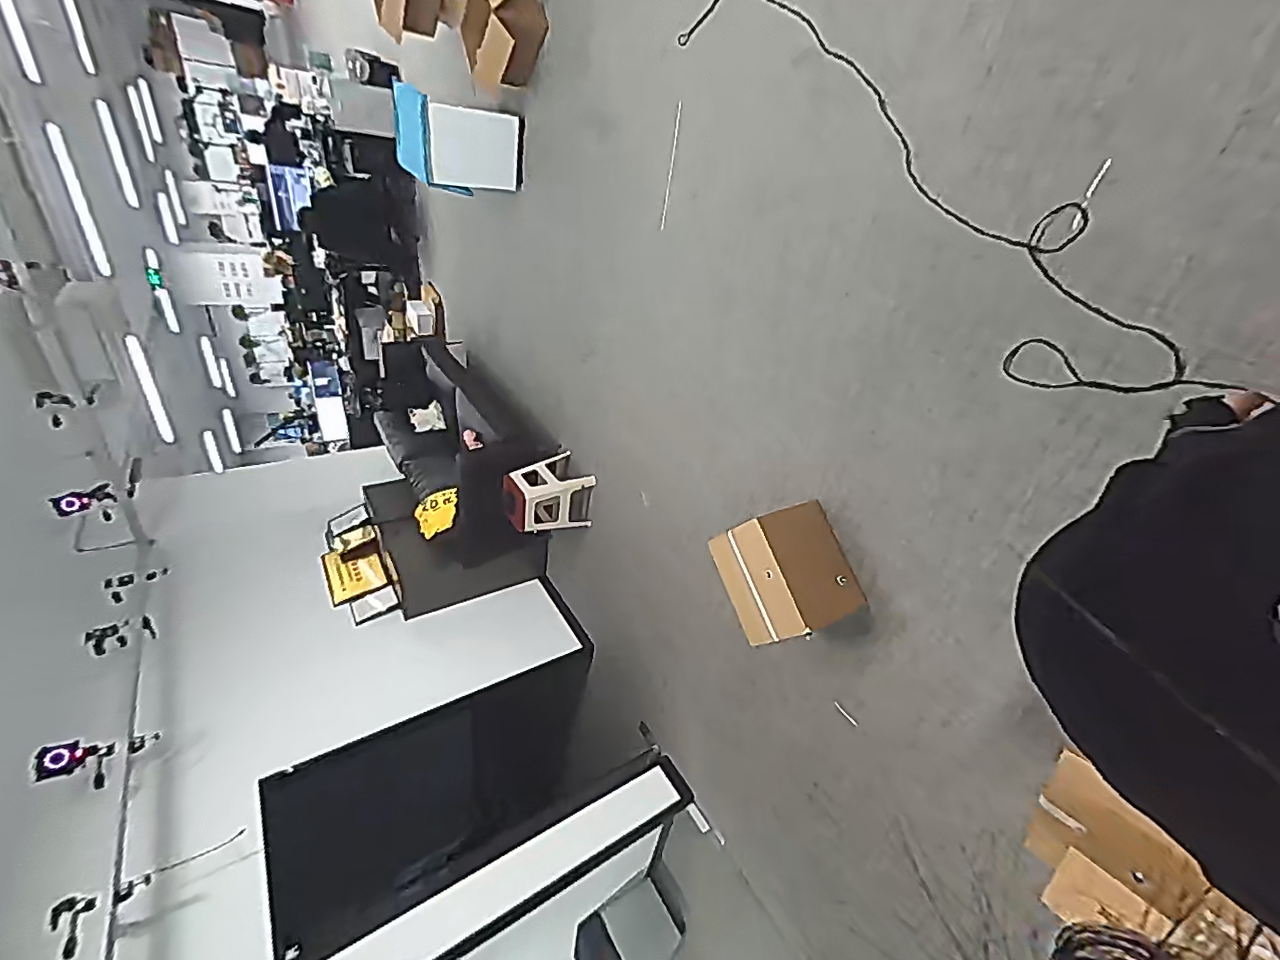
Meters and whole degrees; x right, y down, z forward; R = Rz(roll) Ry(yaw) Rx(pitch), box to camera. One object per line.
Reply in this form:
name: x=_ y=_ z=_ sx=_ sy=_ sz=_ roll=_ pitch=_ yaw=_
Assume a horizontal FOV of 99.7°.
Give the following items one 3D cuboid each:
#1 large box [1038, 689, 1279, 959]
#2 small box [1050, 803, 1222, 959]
large box: x=1.155 y=0.723 z=1.128 sx=0.408 sy=0.320 sz=0.320 roll=28 pitch=126 yaw=49
small box: x=0.935 y=0.764 z=1.021 sx=0.179 sy=0.176 sz=0.168 roll=34 pitch=127 yaw=49
